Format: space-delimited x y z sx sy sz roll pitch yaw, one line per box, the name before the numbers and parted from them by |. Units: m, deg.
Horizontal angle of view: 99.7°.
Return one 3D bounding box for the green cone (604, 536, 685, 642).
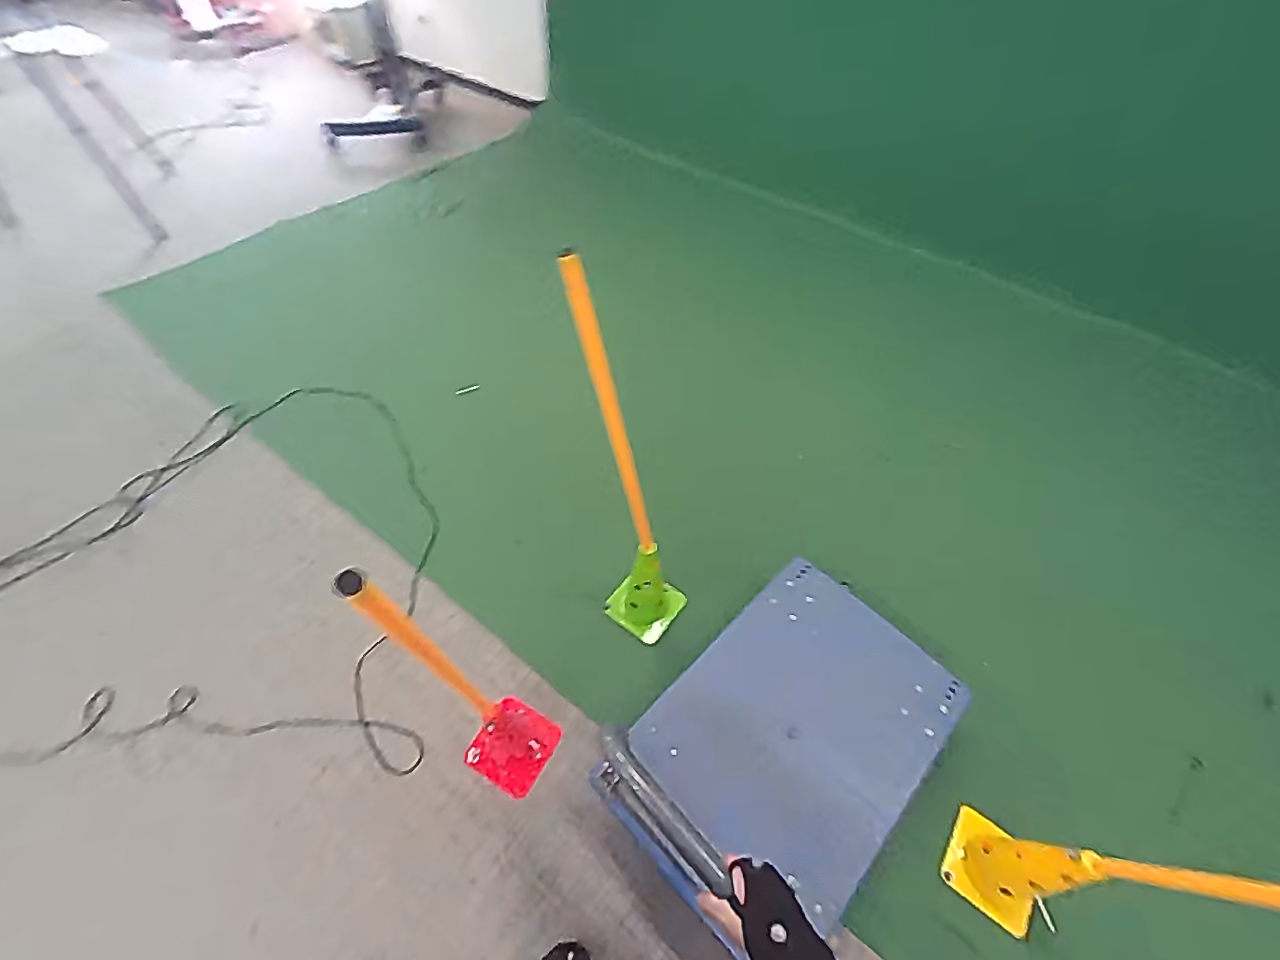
green cone | 0.023 0.280 1.565 0.200 0.368 0.202 32 56 21
